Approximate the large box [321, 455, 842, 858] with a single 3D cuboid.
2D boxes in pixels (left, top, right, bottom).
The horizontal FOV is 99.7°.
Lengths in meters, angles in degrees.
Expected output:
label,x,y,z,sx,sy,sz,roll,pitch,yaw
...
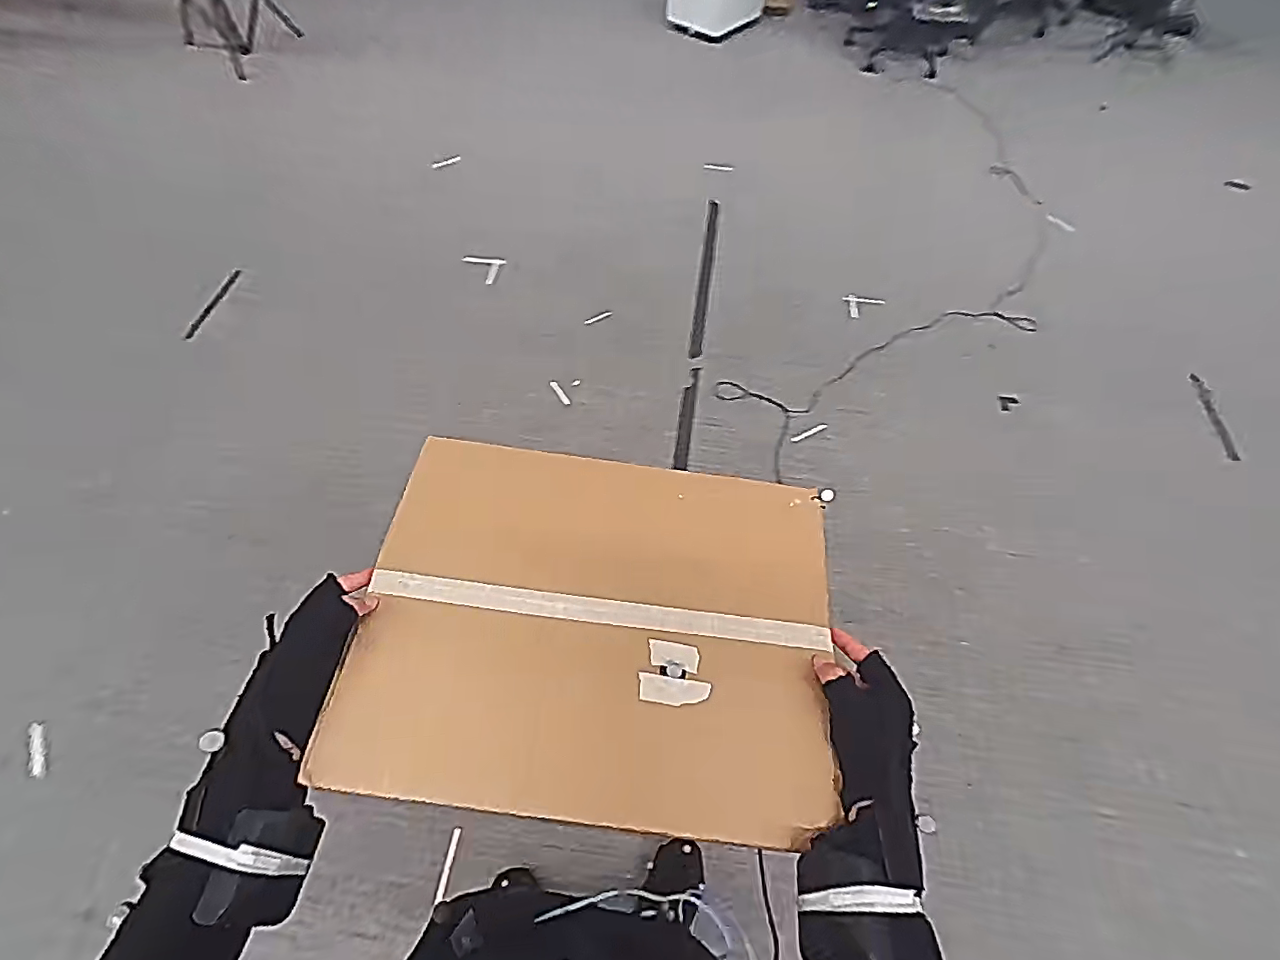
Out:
label,x,y,z,sx,sy,sz,roll,pitch,yaw
large box,-0.041,0.204,0.607,0.408,0.320,0.320,9,60,-1
